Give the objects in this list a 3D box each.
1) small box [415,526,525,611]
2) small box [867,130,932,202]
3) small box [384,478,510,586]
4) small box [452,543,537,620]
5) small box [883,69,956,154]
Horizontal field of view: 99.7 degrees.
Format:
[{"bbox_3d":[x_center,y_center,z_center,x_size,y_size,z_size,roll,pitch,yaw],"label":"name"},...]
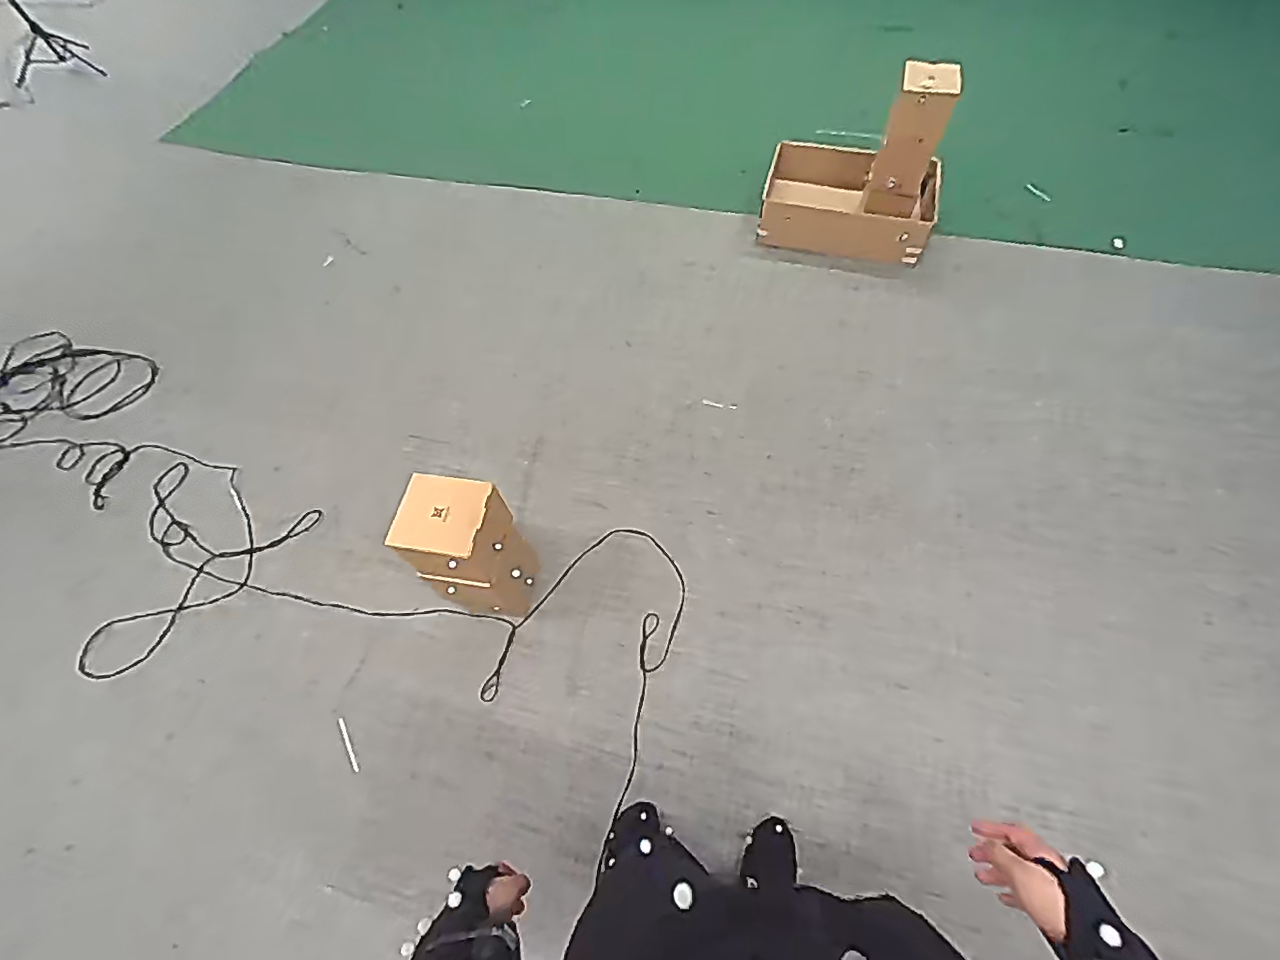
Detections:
[{"bbox_3d":[-0.394,0.200,1.283,0.179,0.176,0.168,8,61,7],"label":"small box"},{"bbox_3d":[0.915,-1.119,1.904,0.168,0.176,0.179,14,64,12],"label":"small box"},{"bbox_3d":[-0.396,0.115,1.145,0.179,0.176,0.168,7,61,6],"label":"small box"},{"bbox_3d":[-0.386,0.266,1.434,0.179,0.176,0.168,4,60,6],"label":"small box"},{"bbox_3d":[0.905,-1.198,1.760,0.168,0.176,0.179,11,62,11],"label":"small box"}]
